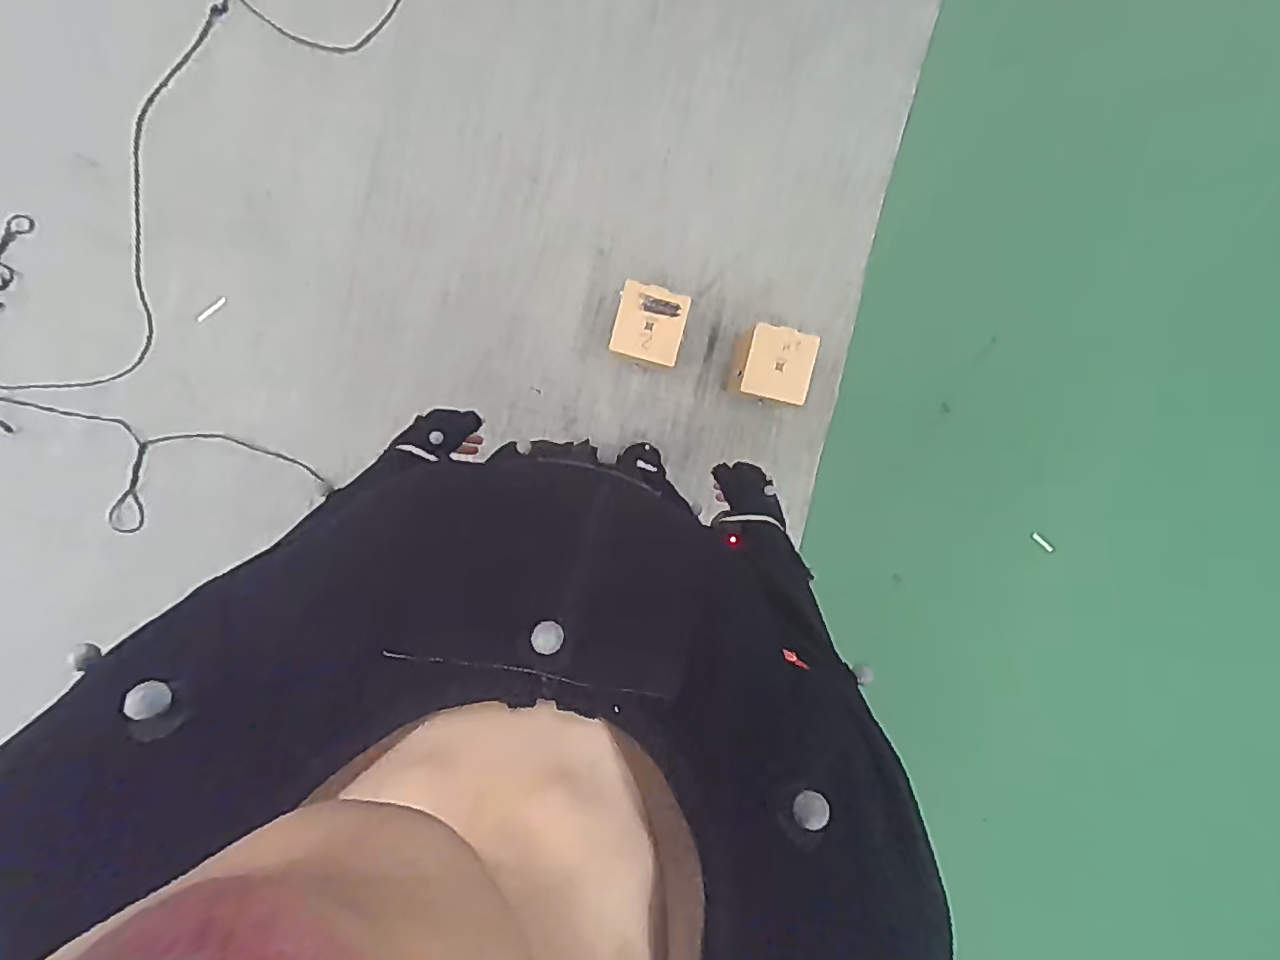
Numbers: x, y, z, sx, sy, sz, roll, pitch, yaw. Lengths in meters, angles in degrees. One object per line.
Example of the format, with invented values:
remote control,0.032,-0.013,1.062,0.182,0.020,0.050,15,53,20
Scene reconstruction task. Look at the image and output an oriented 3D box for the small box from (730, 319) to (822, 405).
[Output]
small box,0.340,-0.295,1.389,0.168,0.176,0.179,13,95,-5
